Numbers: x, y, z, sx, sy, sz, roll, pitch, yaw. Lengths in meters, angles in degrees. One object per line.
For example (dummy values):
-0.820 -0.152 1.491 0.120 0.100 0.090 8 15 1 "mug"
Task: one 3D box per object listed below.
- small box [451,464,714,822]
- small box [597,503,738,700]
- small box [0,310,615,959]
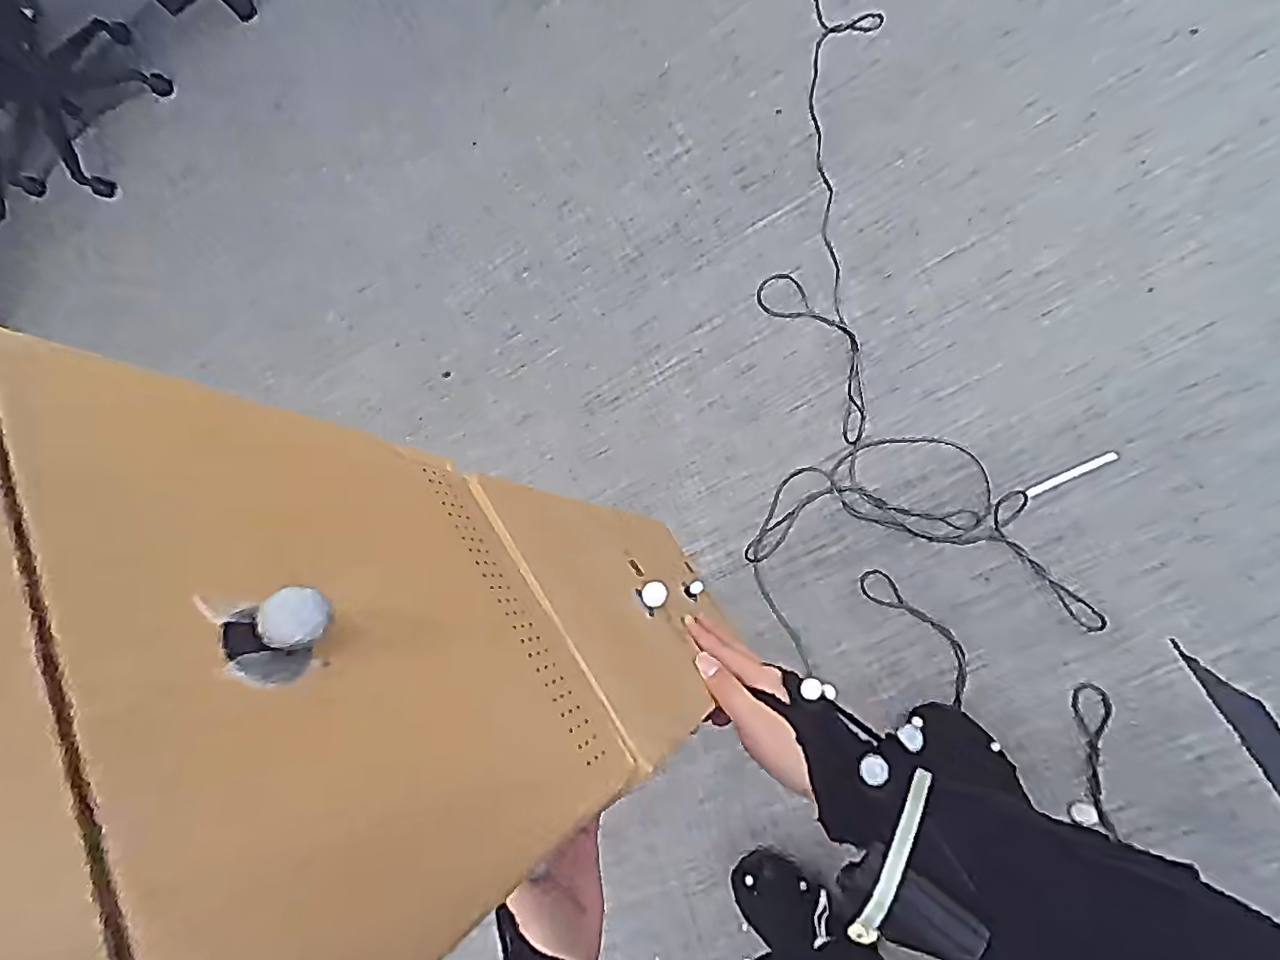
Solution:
-0.078 0.118 0.331 0.179 0.176 0.168 -38 71 9 "small box"
-0.028 0.141 0.486 0.179 0.176 0.168 -37 71 11 "small box"
-0.139 0.087 0.184 0.168 0.176 0.179 -40 71 10 "small box"
